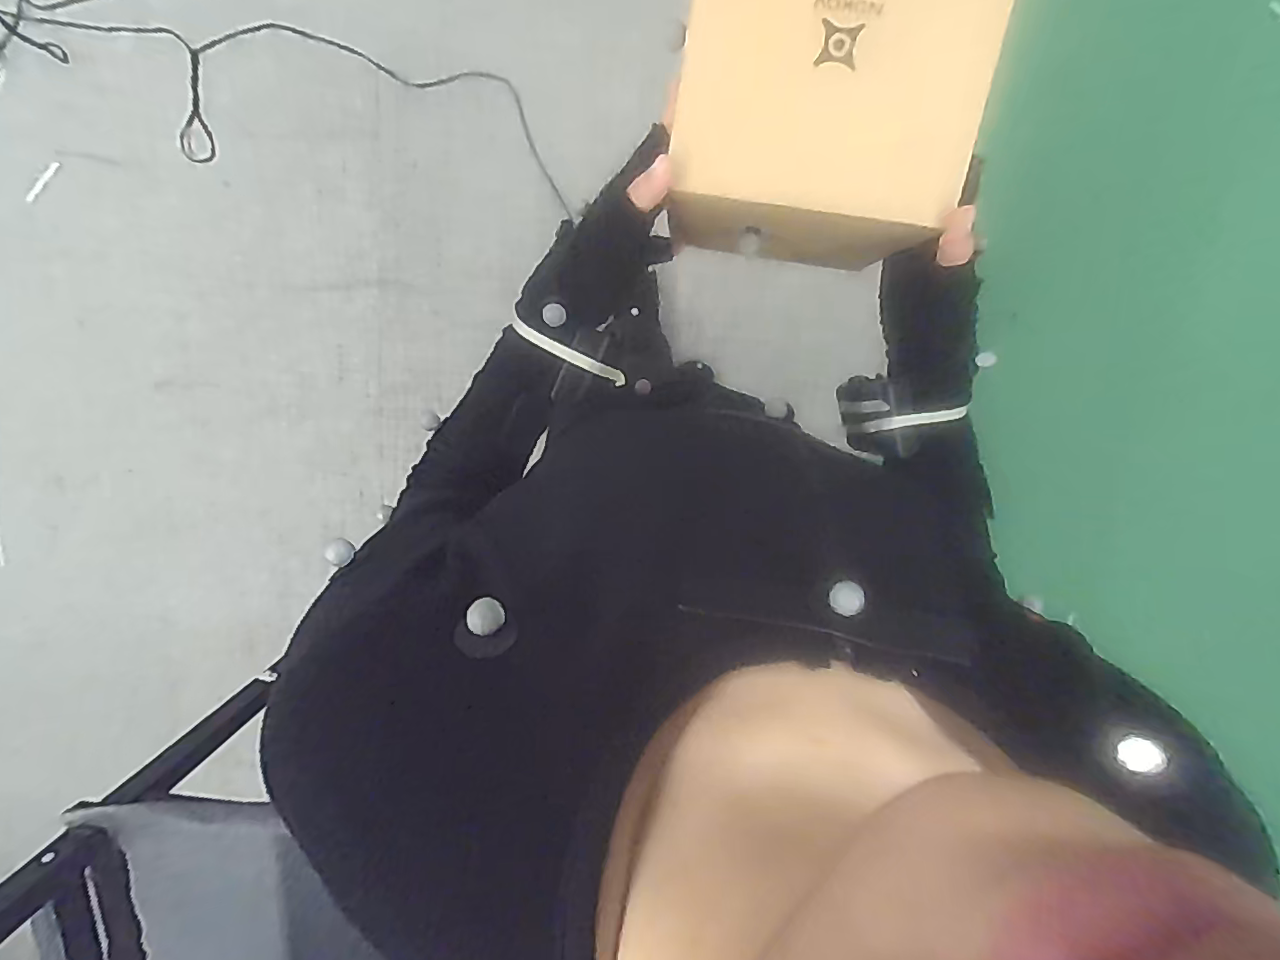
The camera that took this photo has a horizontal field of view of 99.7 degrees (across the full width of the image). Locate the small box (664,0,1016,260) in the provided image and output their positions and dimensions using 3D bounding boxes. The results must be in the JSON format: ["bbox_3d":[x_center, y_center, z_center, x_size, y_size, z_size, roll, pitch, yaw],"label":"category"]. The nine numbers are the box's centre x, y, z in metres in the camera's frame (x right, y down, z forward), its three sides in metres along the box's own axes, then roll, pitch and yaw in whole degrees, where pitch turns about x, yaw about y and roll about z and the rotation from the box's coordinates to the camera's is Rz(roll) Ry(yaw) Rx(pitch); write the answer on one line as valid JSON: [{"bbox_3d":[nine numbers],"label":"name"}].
[{"bbox_3d":[0.114,-0.257,0.358,0.168,0.176,0.179,10,103,3],"label":"small box"}]
